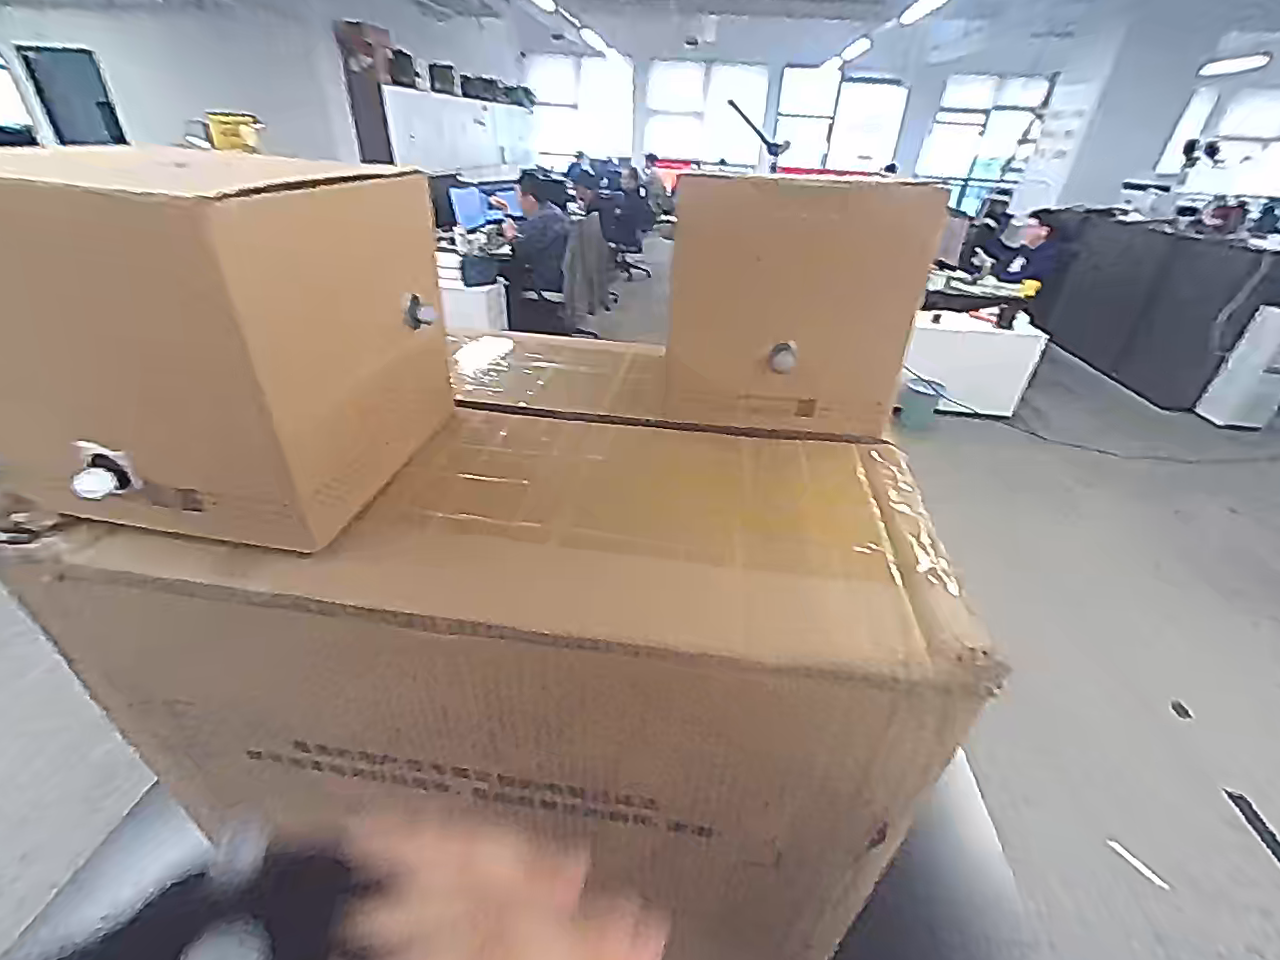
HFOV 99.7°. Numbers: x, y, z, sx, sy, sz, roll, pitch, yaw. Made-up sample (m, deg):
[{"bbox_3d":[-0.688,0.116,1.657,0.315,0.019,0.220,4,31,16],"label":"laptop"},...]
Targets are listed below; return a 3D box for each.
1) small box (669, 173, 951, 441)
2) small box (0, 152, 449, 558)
[{"bbox_3d":[0.113,-0.147,0.441,0.168,0.176,0.179,5,30,5],"label":"small box"},{"bbox_3d":[-0.224,-0.082,0.312,0.168,0.176,0.179,7,34,4],"label":"small box"}]
